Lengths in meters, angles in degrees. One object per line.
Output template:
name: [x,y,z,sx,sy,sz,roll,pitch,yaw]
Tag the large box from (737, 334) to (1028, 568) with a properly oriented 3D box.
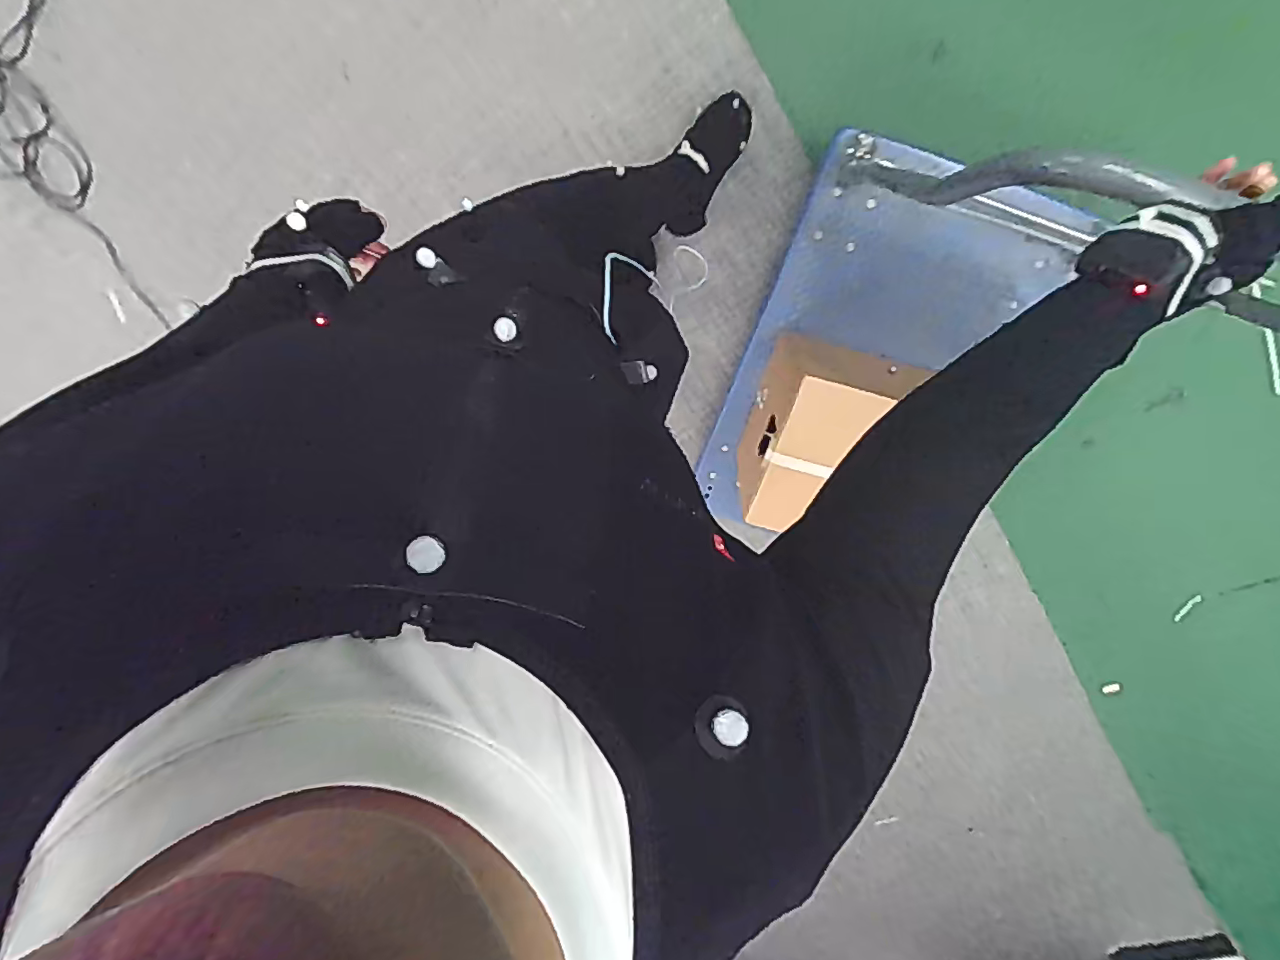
large box: [0.442,-0.073,1.107,0.408,0.320,0.320,15,121,-3]
